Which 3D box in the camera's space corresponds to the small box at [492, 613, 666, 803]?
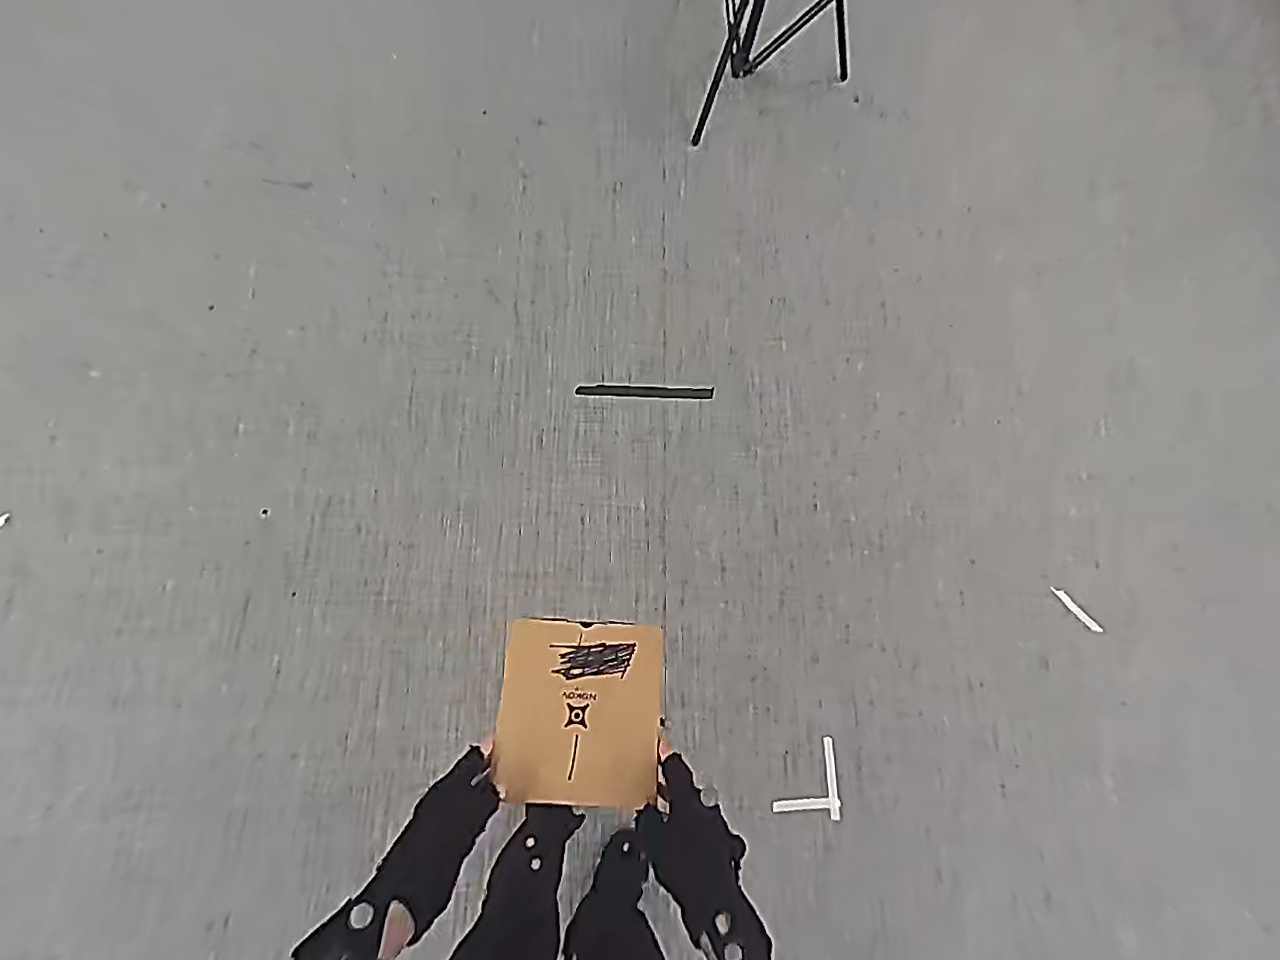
[{"bbox_3d":[-0.056,0.263,0.624,0.168,0.176,0.179,2,63,2],"label":"small box"}]
